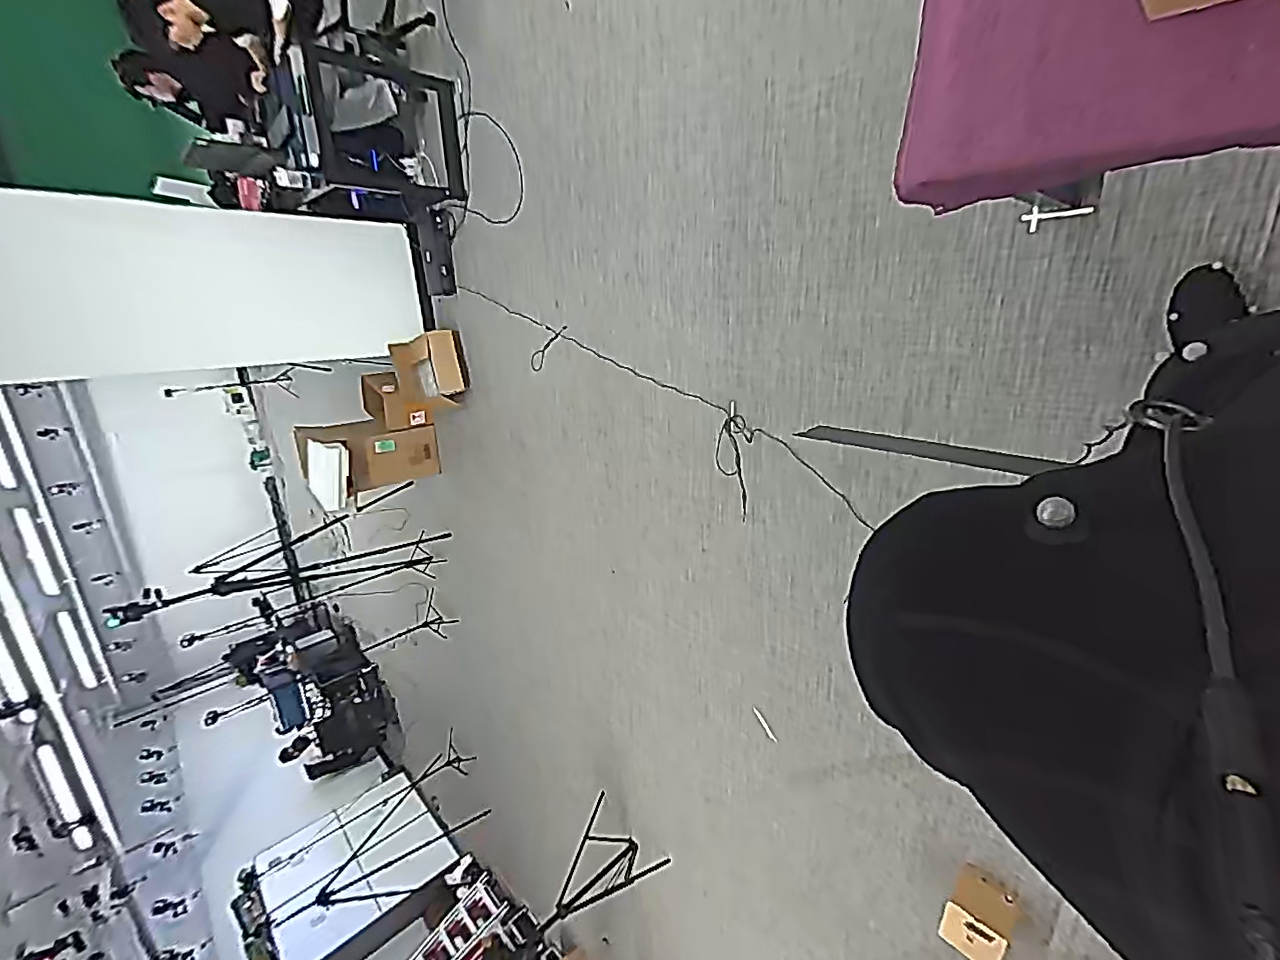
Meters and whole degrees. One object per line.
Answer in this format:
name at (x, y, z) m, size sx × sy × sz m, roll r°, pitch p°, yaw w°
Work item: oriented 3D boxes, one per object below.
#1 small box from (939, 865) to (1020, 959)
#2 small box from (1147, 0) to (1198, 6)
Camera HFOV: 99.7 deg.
small box at (1.081, 1.385, 1.718) m, size 0.168 × 0.176 × 0.179 m, roll 21°, pitch 119°, yaw 43°
small box at (0.555, -0.550, 0.463) m, size 0.168 × 0.176 × 0.179 m, roll 19°, pitch 118°, yaw 42°
